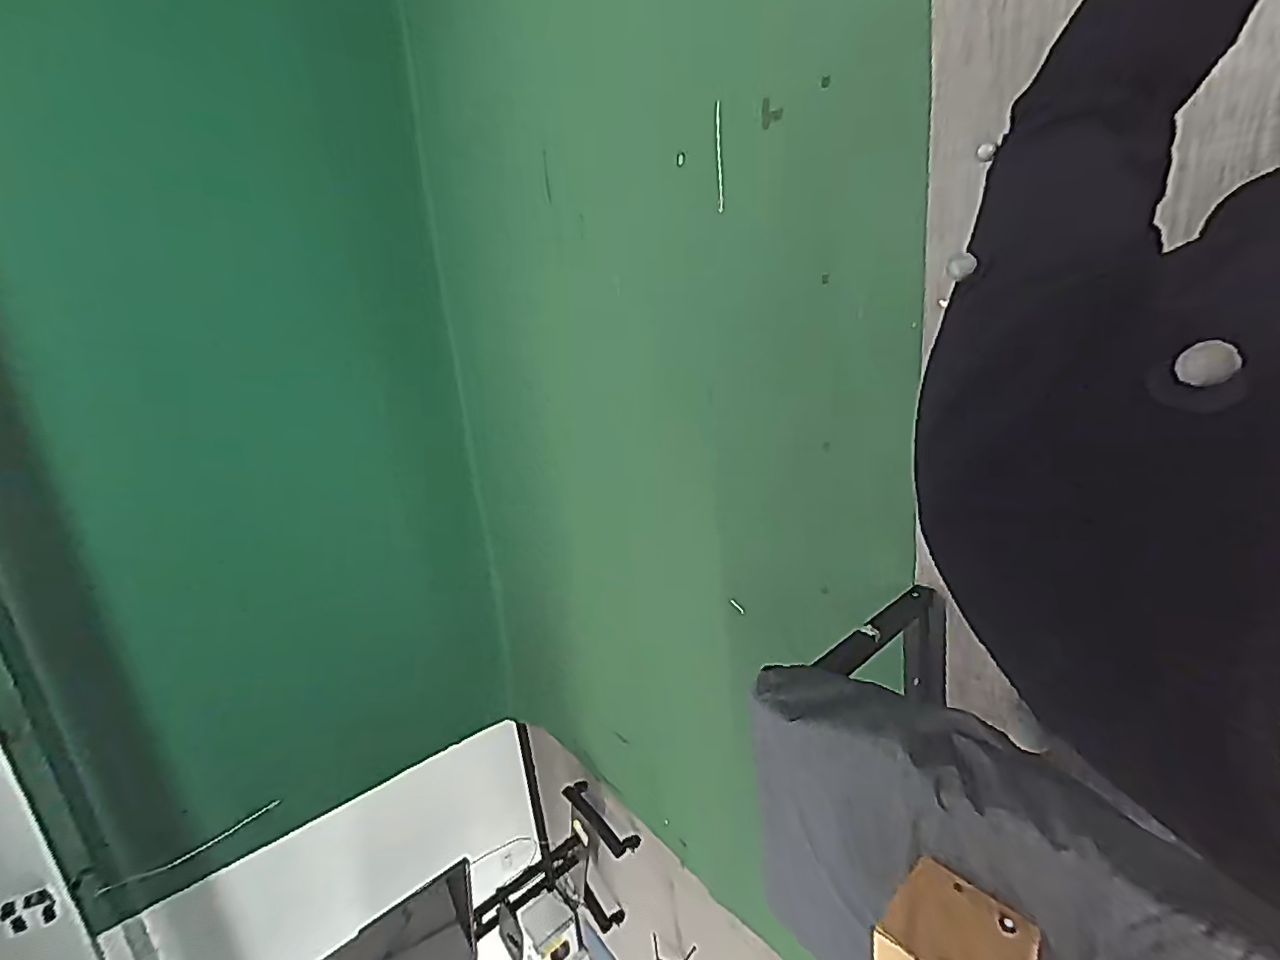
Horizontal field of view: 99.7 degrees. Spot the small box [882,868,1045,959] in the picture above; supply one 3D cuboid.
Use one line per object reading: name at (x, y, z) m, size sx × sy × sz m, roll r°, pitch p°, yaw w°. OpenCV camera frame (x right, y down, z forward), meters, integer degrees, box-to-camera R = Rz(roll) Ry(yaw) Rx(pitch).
small box at (0.479, 0.741, 0.806) m, size 0.168 × 0.176 × 0.179 m, roll 11°, pitch 113°, yaw 49°
